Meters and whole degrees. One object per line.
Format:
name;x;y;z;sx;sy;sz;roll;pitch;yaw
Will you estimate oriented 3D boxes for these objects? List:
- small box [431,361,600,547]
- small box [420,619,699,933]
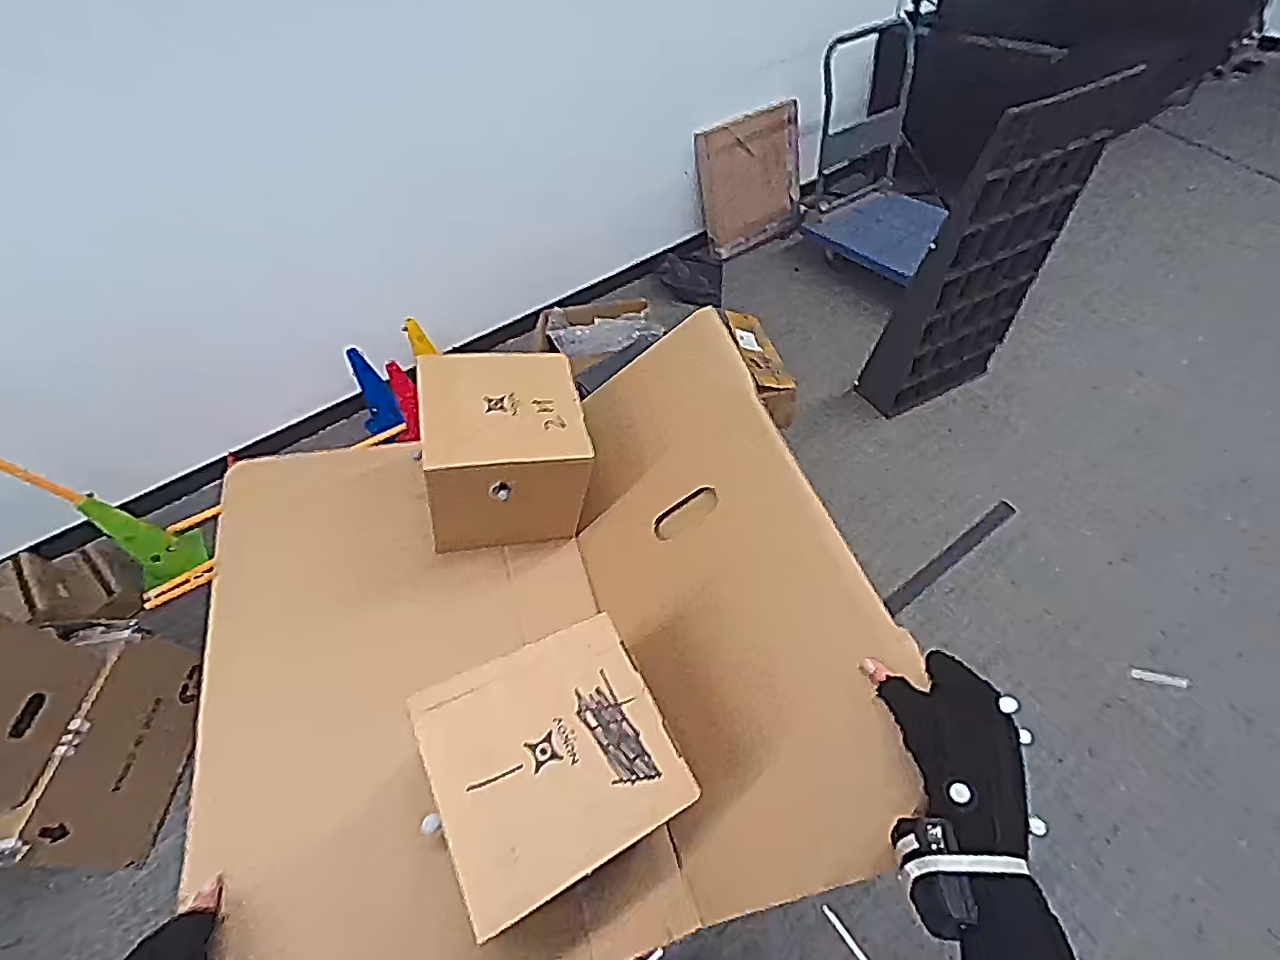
small box;-0.159;-0.028;0.670;0.179;0.176;0.168;-3;56;-19
small box;-0.081;0.254;0.481;0.179;0.176;0.168;-16;60;-26
